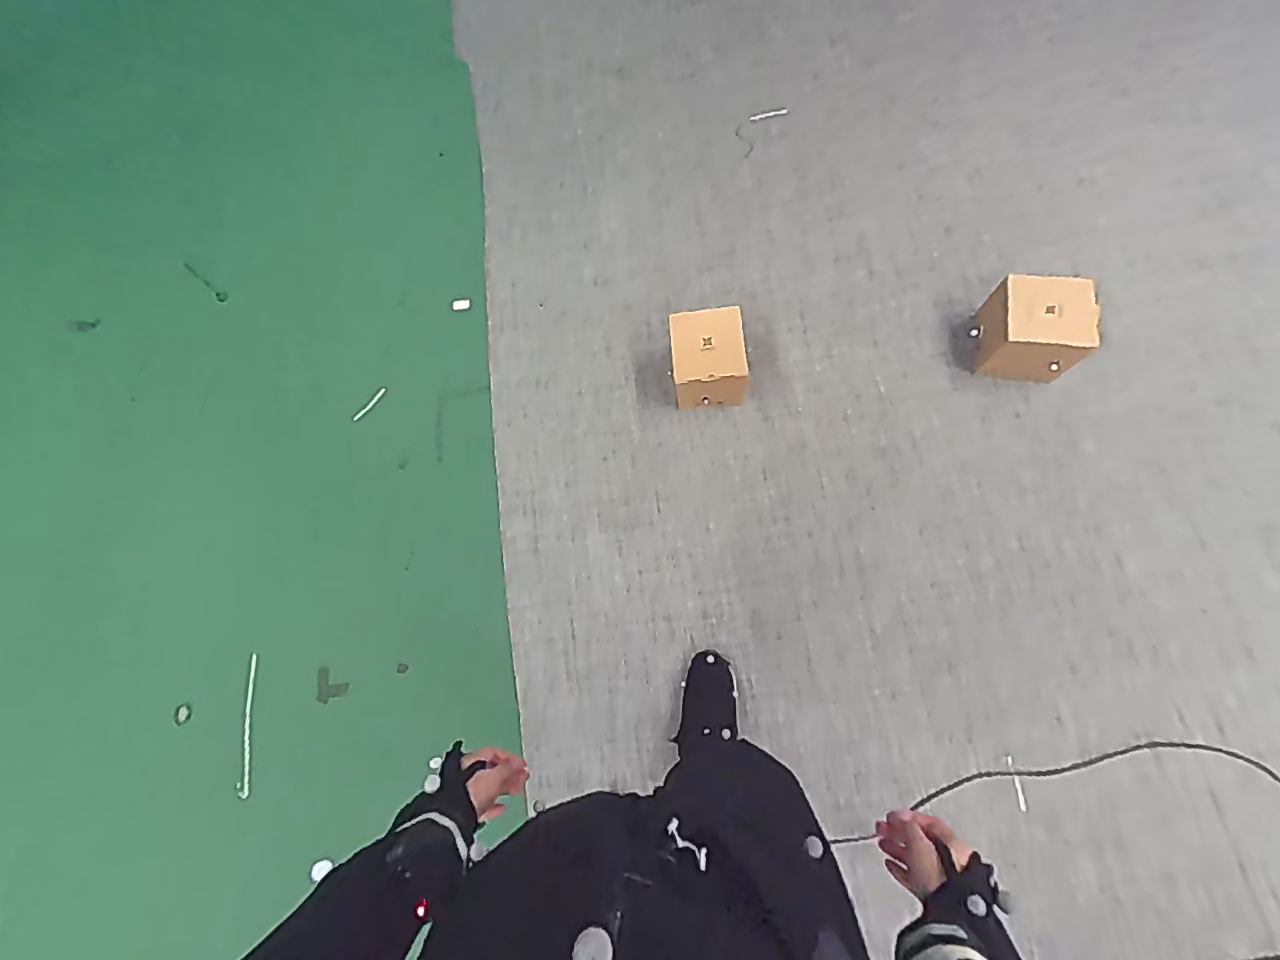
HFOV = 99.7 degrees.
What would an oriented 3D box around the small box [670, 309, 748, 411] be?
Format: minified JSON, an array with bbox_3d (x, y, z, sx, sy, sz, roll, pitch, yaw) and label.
[{"bbox_3d":[0.162,-0.282,1.297,0.168,0.176,0.179,-6,75,5],"label":"small box"}]

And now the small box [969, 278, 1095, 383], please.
[{"bbox_3d":[0.877,-0.332,1.223,0.179,0.176,0.168,6,75,9],"label":"small box"}]
